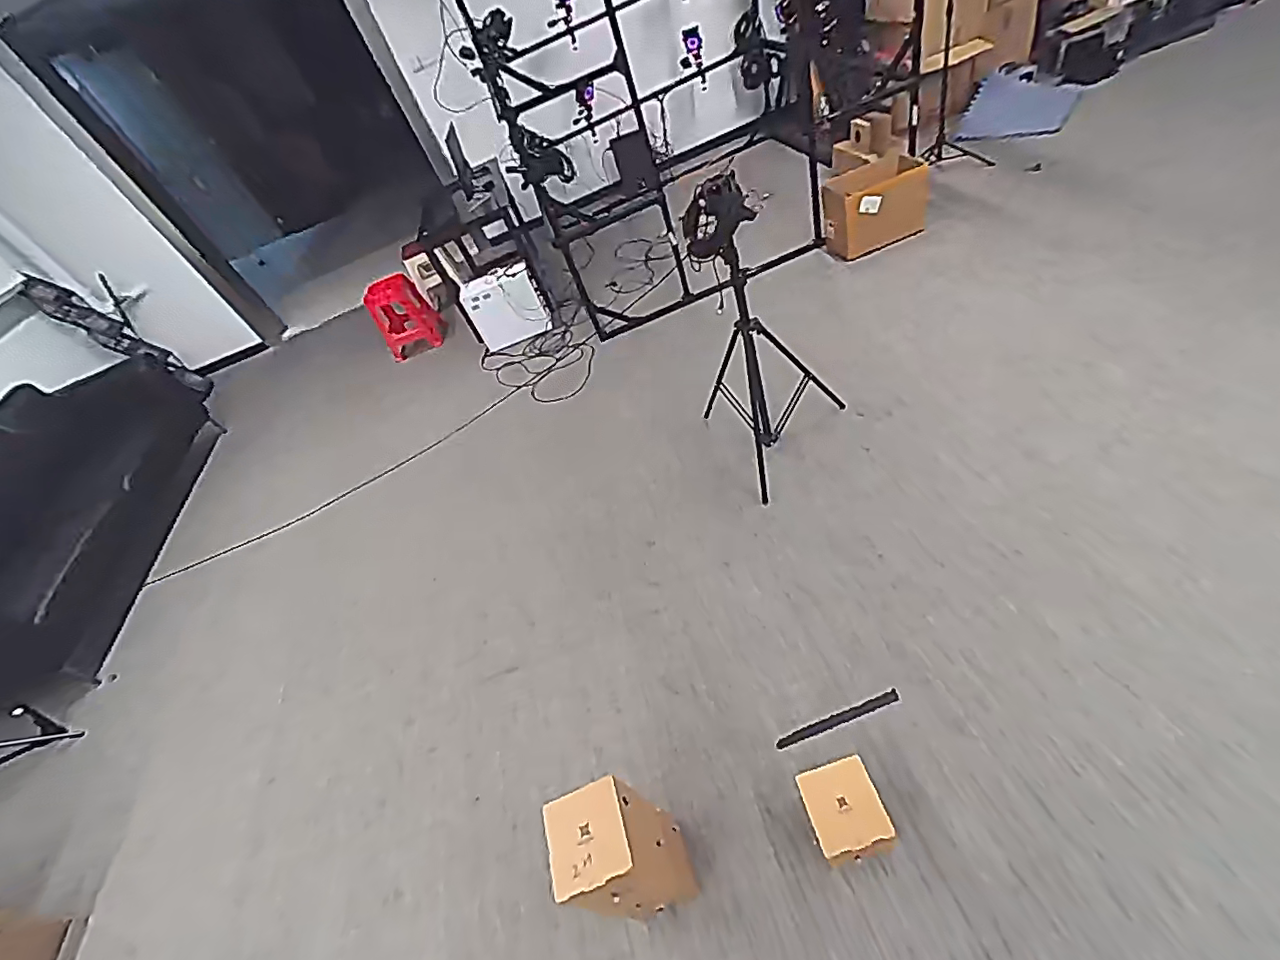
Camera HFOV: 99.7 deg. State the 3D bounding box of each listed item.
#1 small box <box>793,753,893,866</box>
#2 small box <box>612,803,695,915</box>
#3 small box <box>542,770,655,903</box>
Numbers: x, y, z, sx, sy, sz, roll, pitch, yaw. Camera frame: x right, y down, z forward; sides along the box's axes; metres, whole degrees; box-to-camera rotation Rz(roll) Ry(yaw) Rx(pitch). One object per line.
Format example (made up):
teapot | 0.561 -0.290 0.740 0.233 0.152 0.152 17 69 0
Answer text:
small box | 0.485 0.795 1.303 0.168 0.176 0.179 -21 45 4
small box | 0.020 0.954 1.358 0.168 0.176 0.179 -25 43 2
small box | -0.086 0.746 1.128 0.168 0.176 0.179 -25 44 2
